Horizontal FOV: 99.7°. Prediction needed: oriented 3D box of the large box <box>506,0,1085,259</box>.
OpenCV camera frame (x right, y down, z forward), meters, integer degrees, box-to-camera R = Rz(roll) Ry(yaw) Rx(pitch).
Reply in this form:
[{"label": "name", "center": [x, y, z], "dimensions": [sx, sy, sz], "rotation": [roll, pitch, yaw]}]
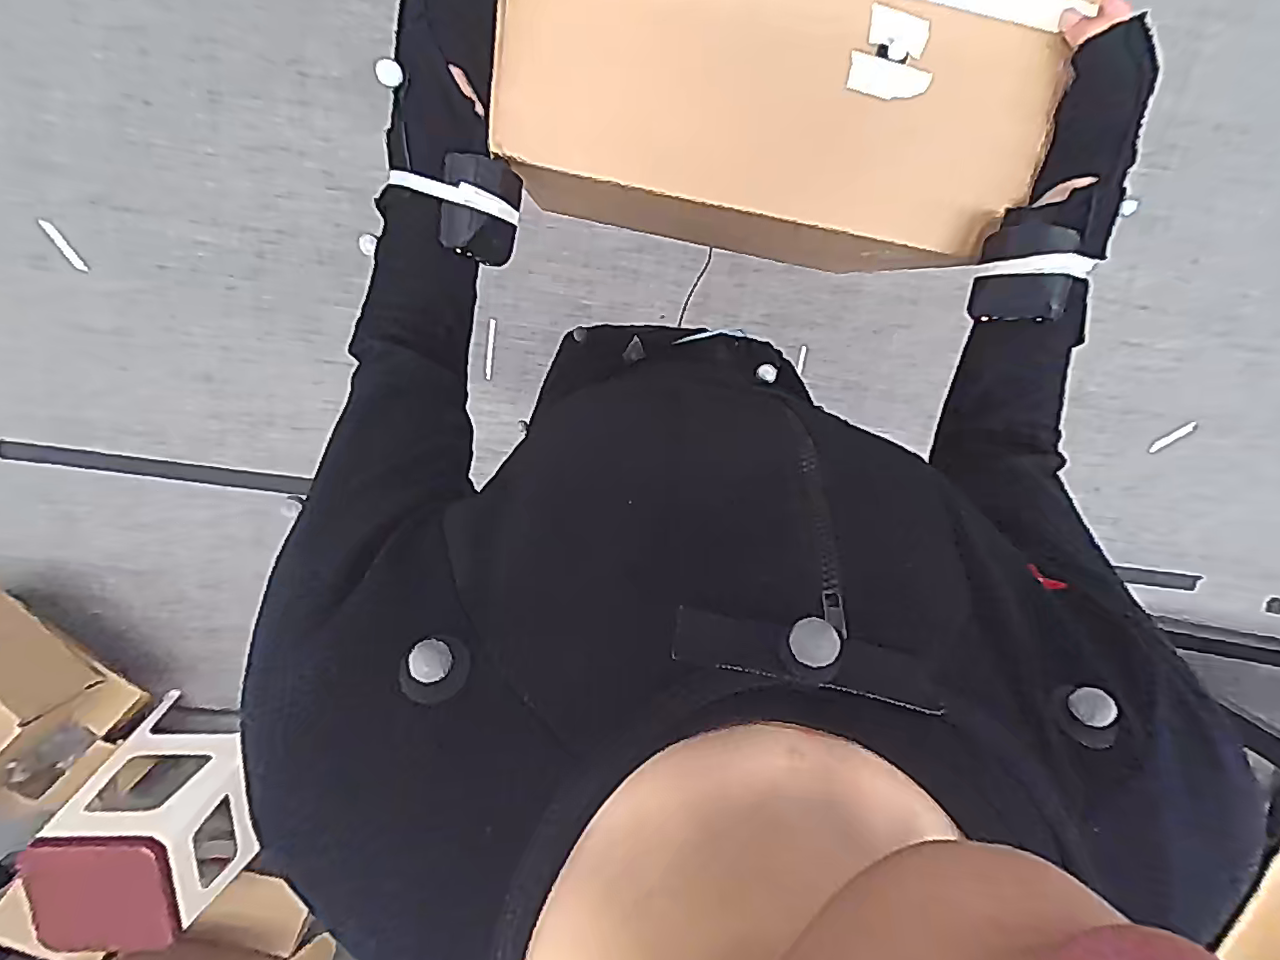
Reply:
[{"label": "large box", "center": [0.108, -0.408, 0.505], "dimensions": [0.408, 0.320, 0.320], "rotation": [8, 110, -8]}]
